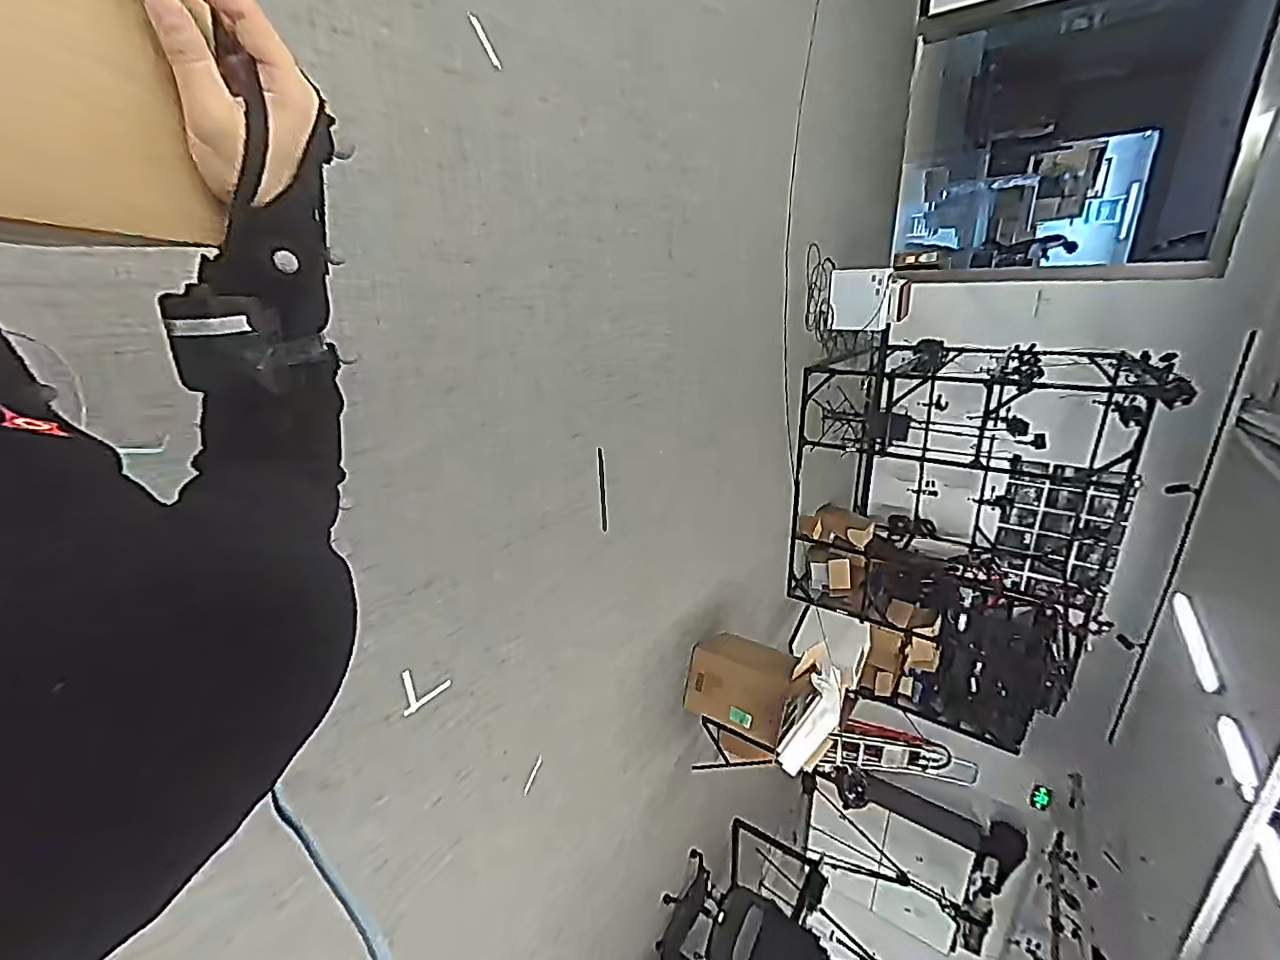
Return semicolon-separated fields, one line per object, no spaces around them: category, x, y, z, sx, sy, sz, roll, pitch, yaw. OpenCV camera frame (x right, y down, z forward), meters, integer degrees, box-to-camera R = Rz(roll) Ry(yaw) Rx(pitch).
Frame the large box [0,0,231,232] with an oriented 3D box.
large box;-0.459;-0.280;0.180;0.408;0.320;0.320;-23;123;-57
